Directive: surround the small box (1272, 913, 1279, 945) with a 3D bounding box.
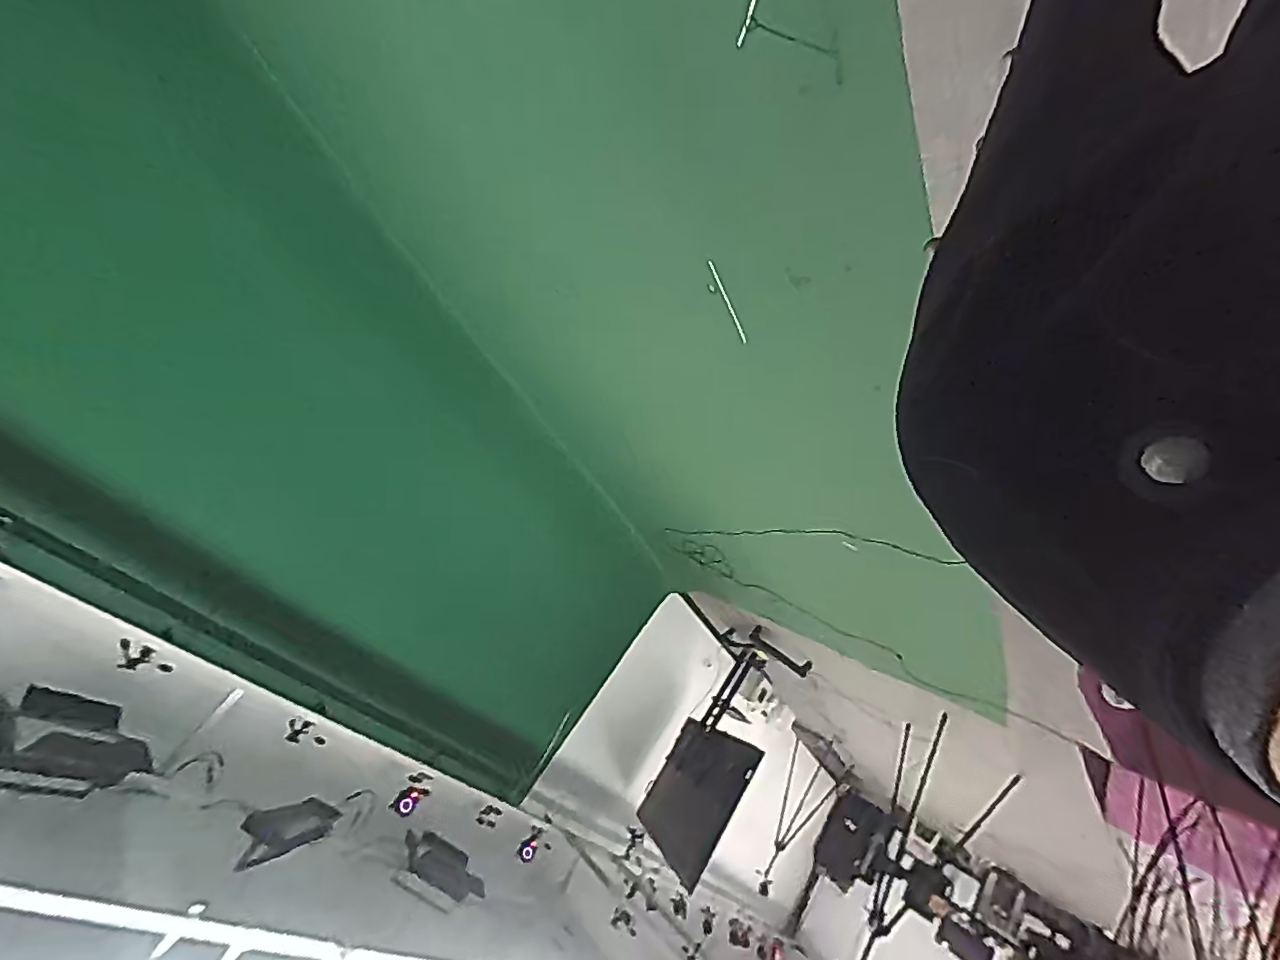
[{"bbox_3d":[1.710,1.101,1.319,0.179,0.176,0.168,17,152,45],"label":"small box"}]
